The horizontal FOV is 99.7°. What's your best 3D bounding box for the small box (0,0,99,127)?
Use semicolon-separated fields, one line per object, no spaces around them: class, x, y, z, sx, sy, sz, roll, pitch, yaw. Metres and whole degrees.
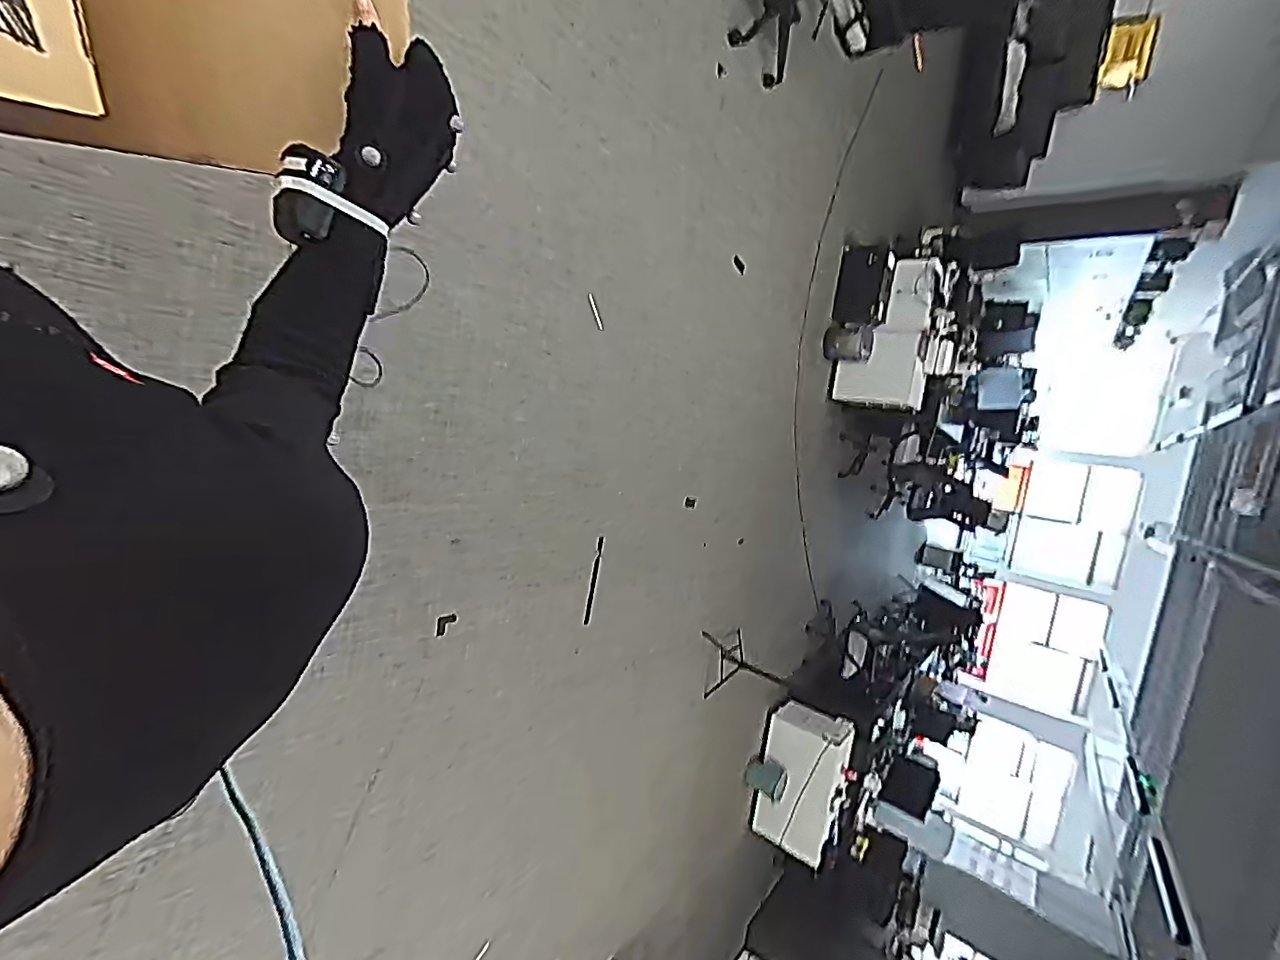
small box;-0.434;-0.288;0.259;0.179;0.176;0.168;-38;139;-58
